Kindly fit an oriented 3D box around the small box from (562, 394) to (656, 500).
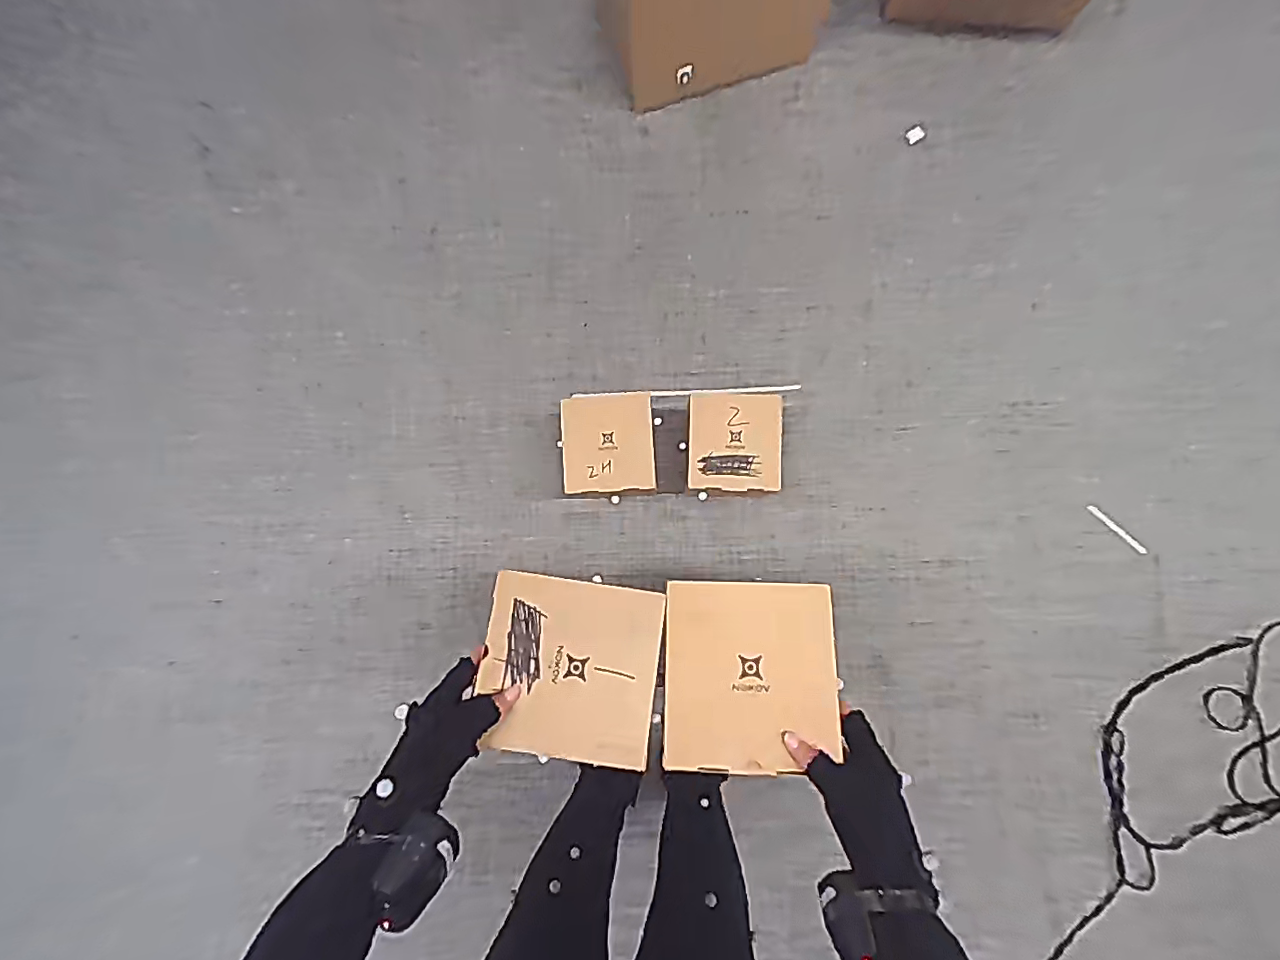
[{"bbox_3d":[-0.055,-0.057,1.048,0.168,0.176,0.179,-4,85,3],"label":"small box"}]
